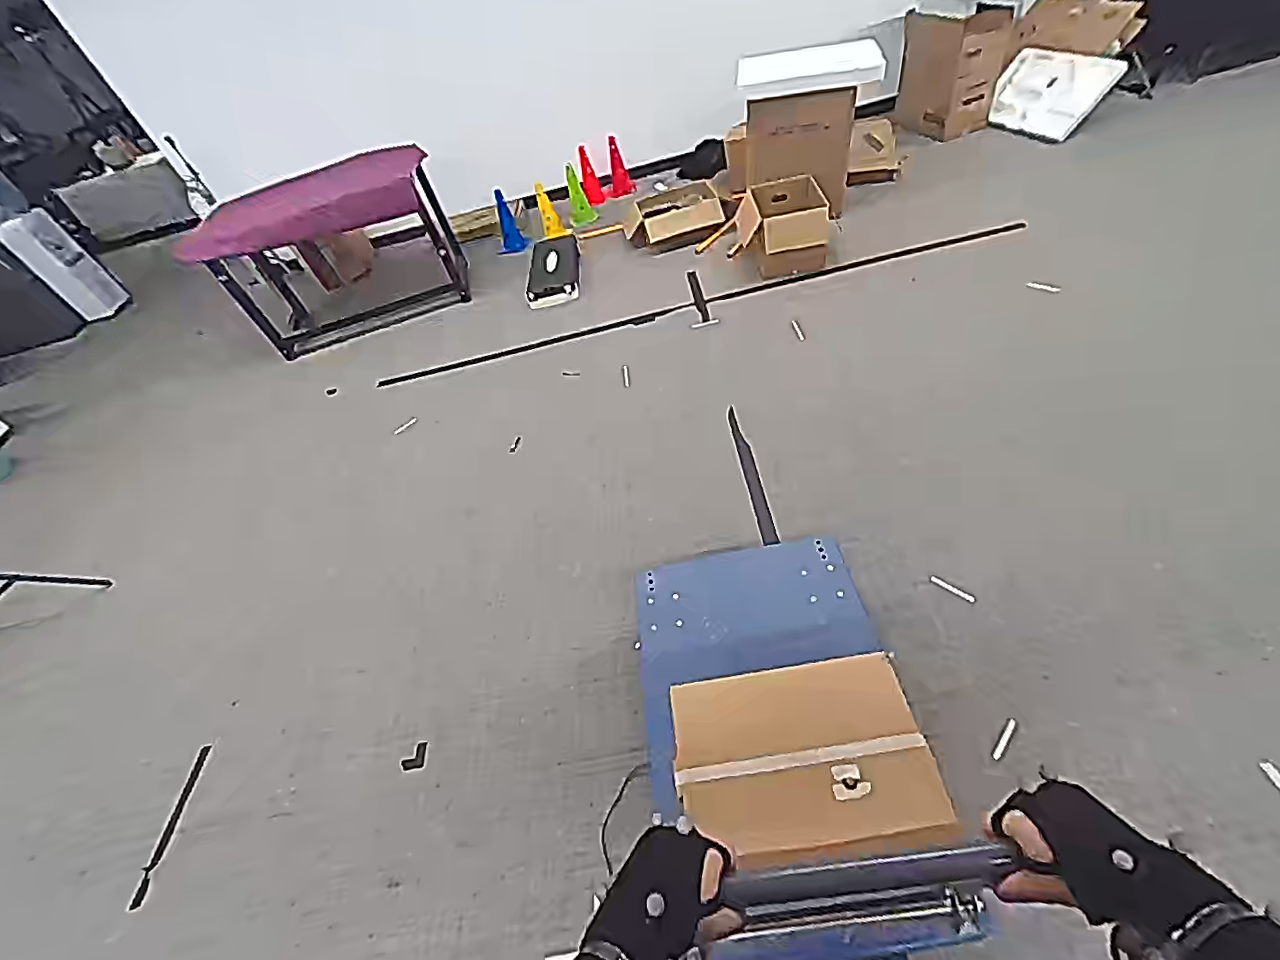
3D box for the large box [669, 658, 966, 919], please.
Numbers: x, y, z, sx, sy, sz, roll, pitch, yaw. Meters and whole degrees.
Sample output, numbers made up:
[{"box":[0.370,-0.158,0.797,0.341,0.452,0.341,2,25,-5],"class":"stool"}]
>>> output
[{"box":[0.288,0.571,0.993,0.408,0.320,0.320,-11,47,4],"class":"large box"}]
